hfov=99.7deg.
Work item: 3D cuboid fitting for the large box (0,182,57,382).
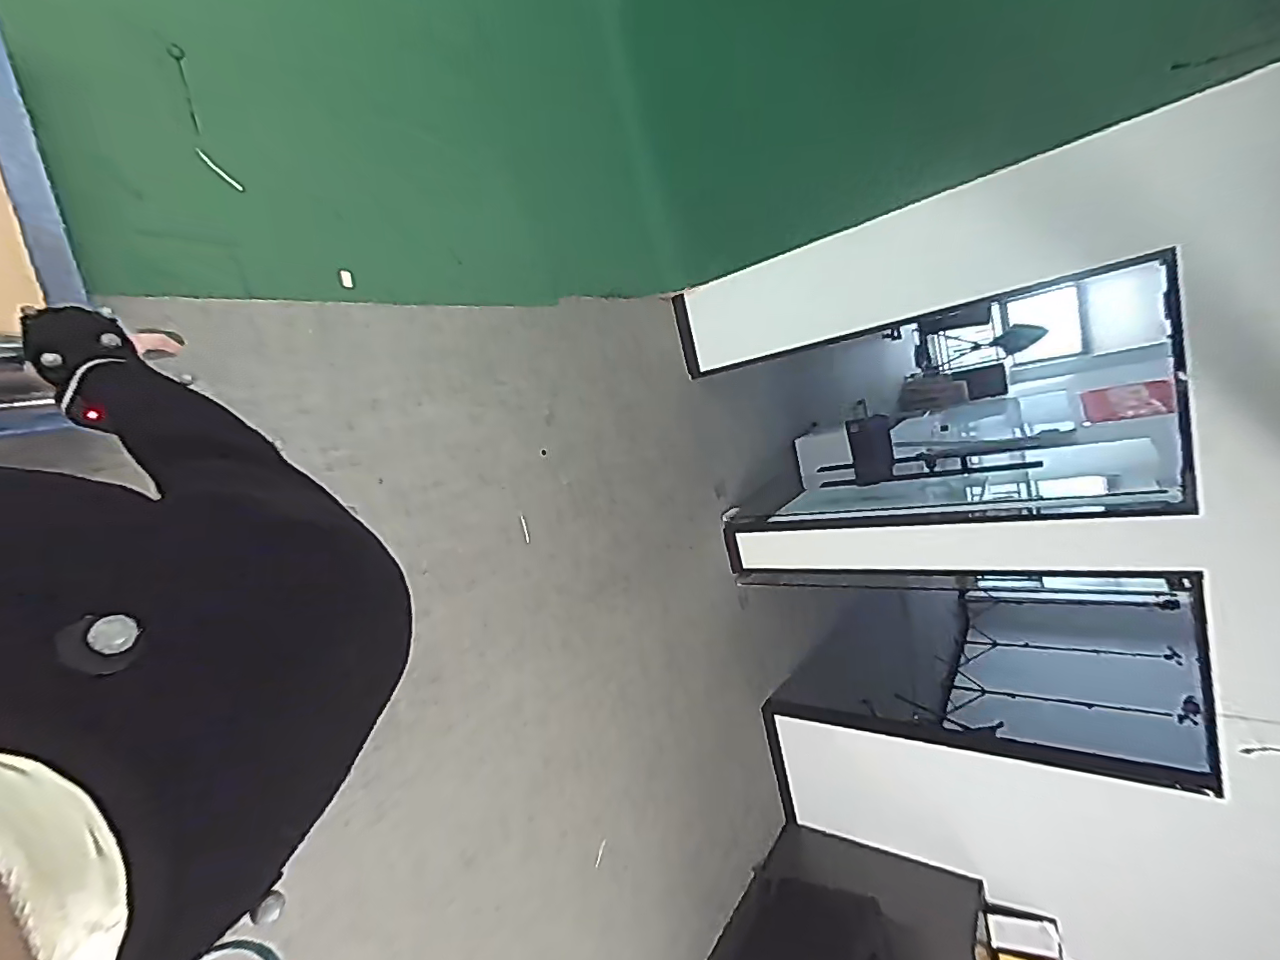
[{"bbox_3d":[-1.170,-0.361,0.806,0.320,0.320,0.408,-22,100,-51],"label":"large box"}]
